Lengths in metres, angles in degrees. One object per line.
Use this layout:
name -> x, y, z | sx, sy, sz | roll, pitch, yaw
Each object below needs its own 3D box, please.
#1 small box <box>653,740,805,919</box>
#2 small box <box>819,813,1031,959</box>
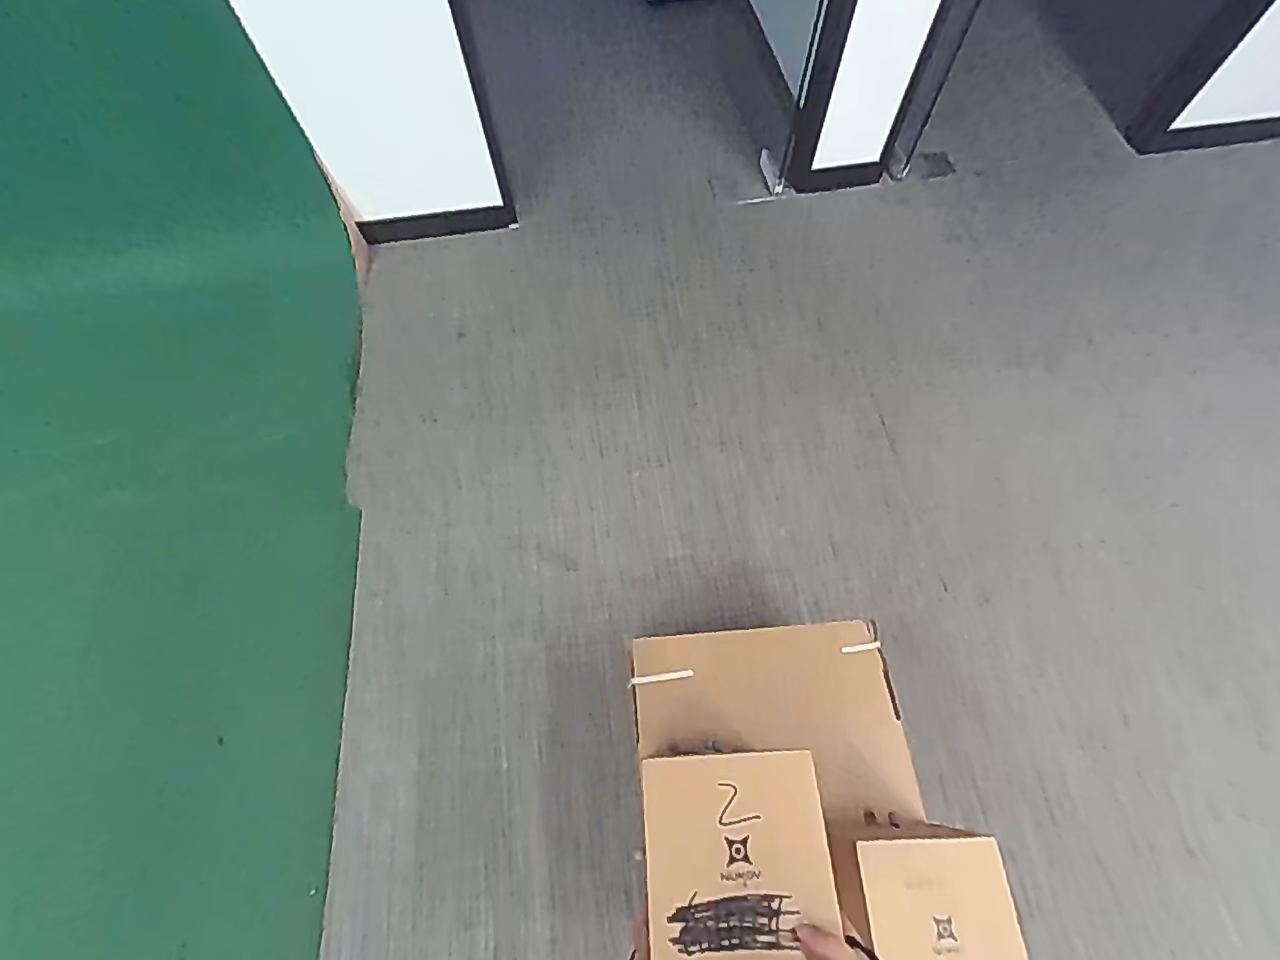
small box -> 0.101, 0.441, 0.703 | 0.168, 0.176, 0.179 | -2, 63, 1
small box -> 0.333, 0.517, 0.658 | 0.168, 0.176, 0.179 | -1, 63, -1
